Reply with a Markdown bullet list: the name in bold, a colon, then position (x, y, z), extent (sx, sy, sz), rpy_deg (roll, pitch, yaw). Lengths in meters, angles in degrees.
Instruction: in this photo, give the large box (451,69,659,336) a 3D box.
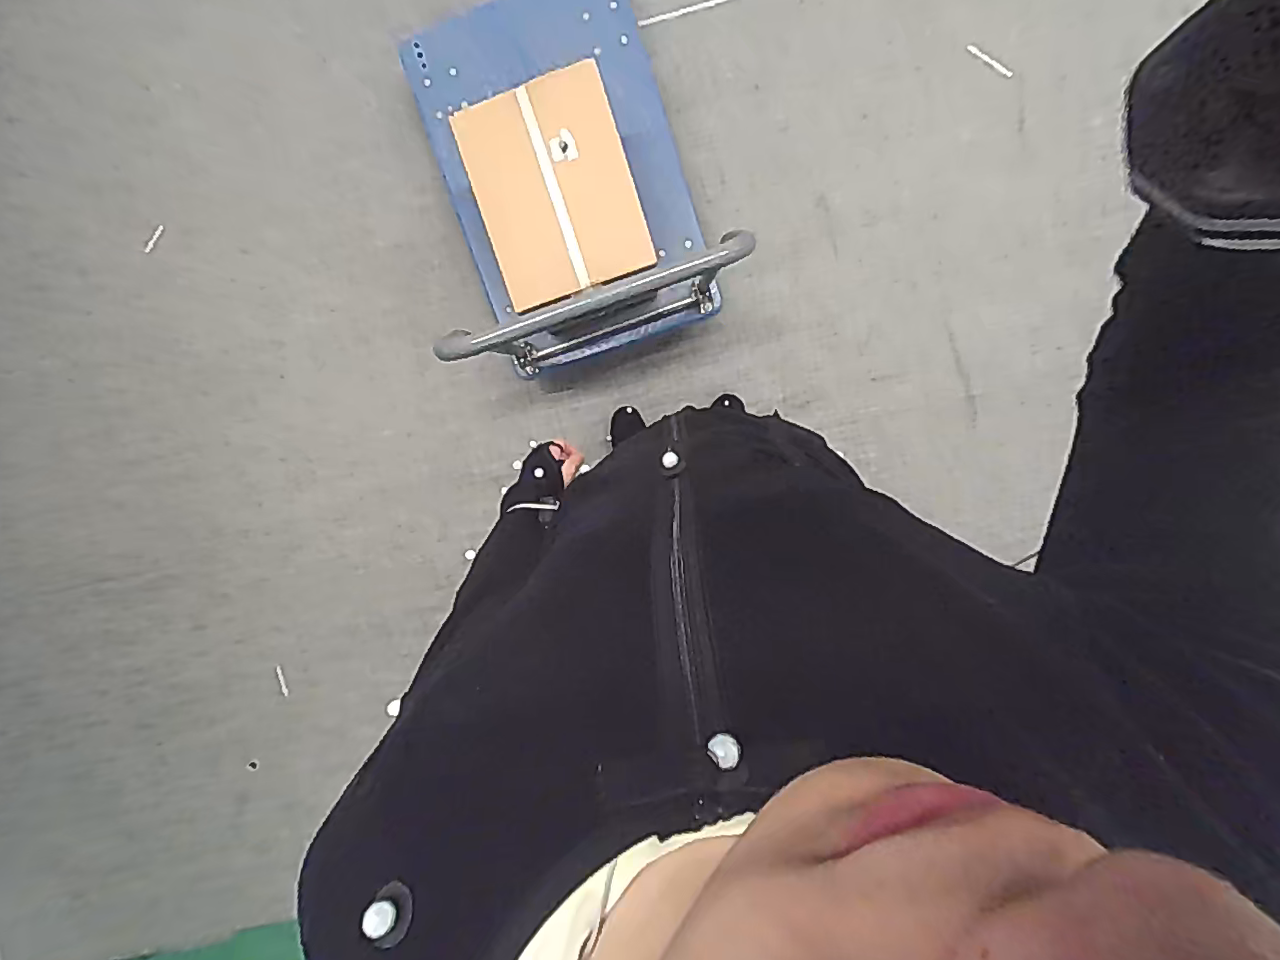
- **large box**: position (-0.164, -0.590, 1.235), extent (0.320, 0.320, 0.408), rpy_deg (-18, 95, 4)
